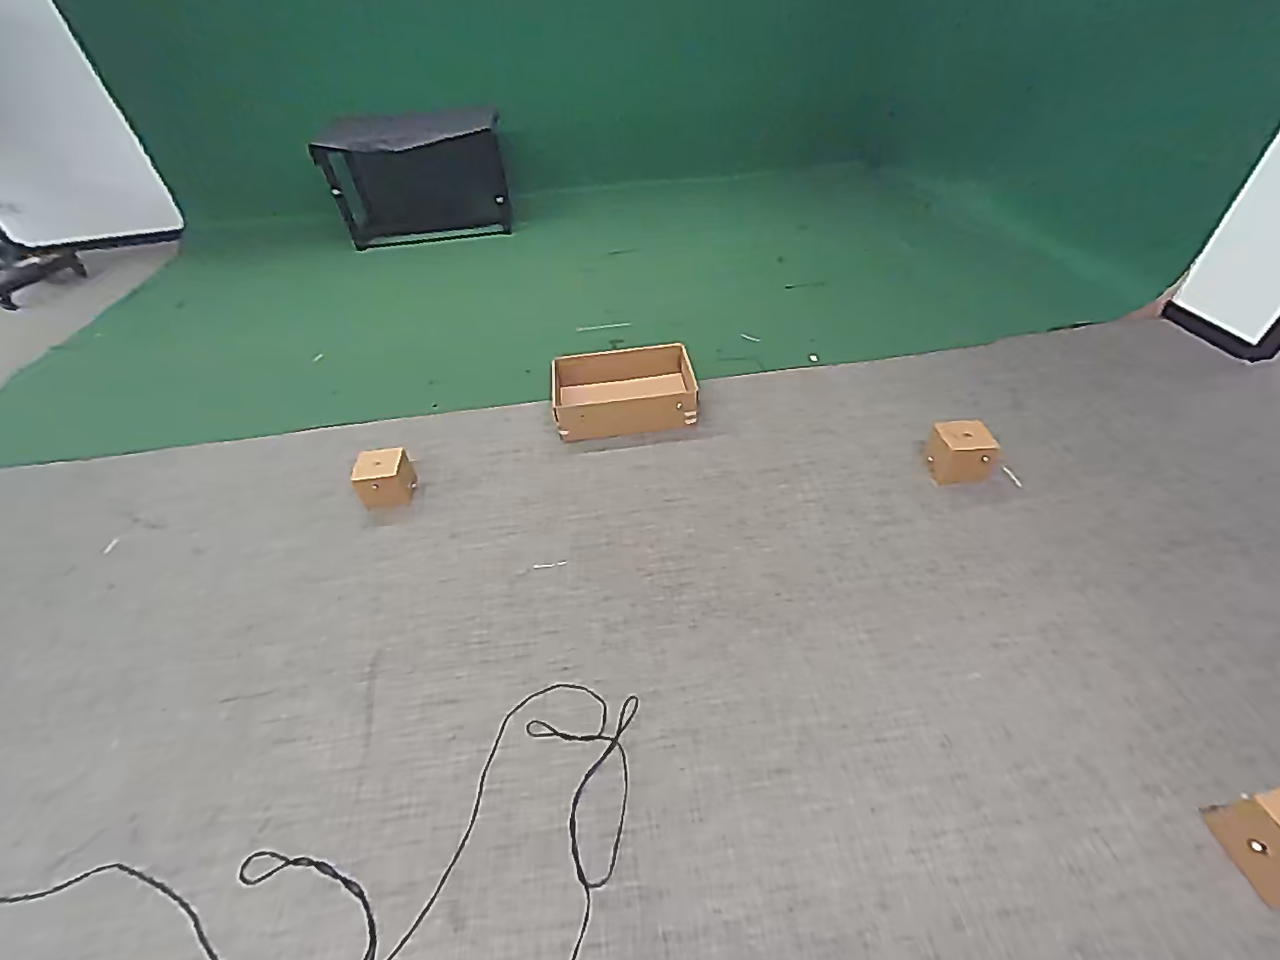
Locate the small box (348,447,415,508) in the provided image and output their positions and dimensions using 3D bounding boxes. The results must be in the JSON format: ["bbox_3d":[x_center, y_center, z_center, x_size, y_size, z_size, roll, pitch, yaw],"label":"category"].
[{"bbox_3d":[-1.013,-0.007,2.131,0.179,0.176,0.168,-8,46,-5],"label":"small box"}]

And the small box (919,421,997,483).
[{"bbox_3d":[1.192,-0.103,2.042,0.179,0.176,0.168,-4,44,1],"label":"small box"}]

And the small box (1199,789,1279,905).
[{"bbox_3d":[1.370,0.771,1.136,0.168,0.176,0.179,-7,44,-2],"label":"small box"}]
